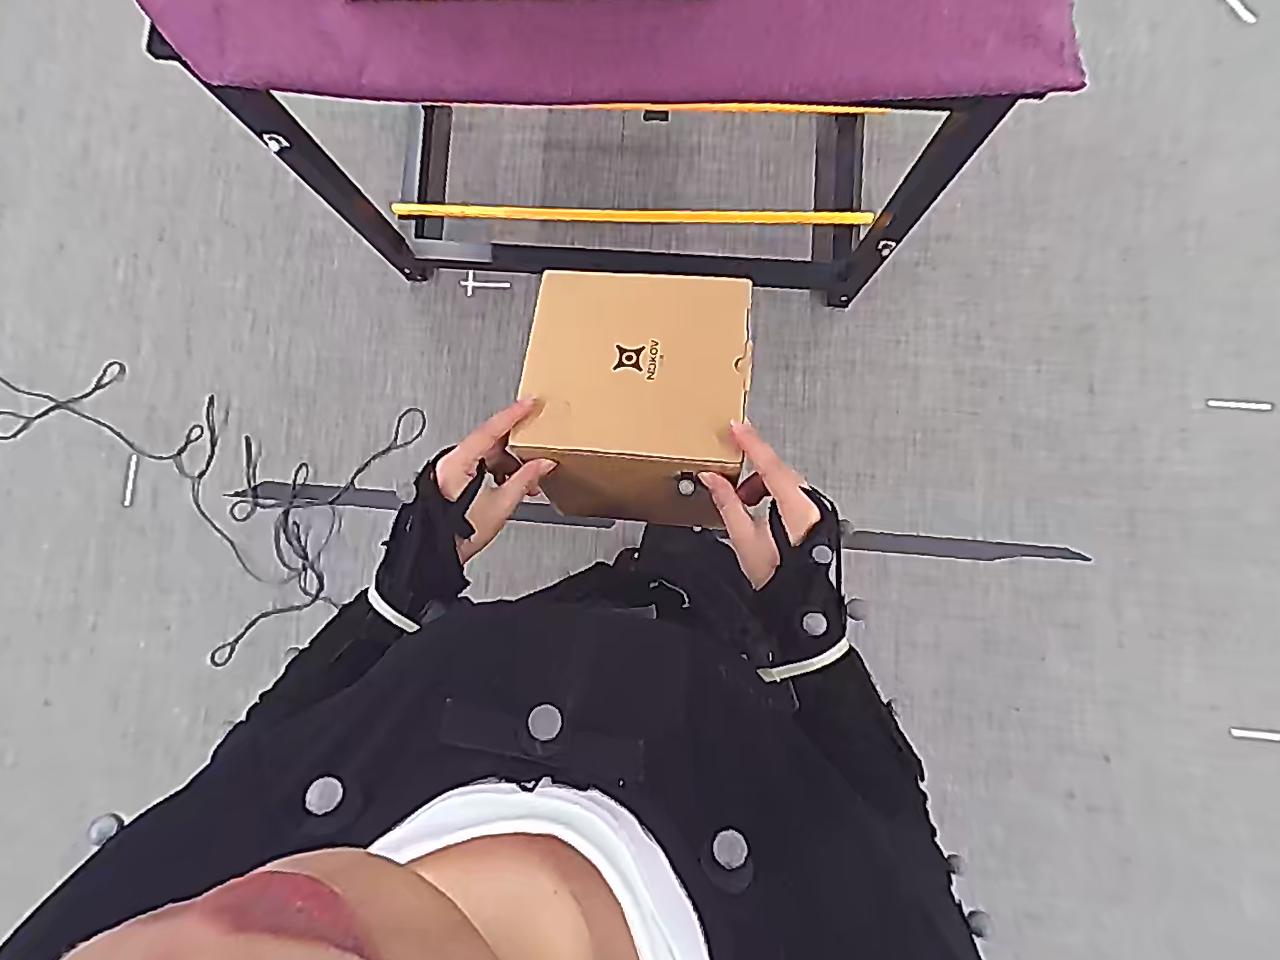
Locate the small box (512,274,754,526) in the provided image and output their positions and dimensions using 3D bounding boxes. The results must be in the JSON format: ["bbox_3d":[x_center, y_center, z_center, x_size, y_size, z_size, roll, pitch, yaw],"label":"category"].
[{"bbox_3d":[0.004,-0.063,0.495,0.179,0.176,0.168,5,69,5],"label":"small box"}]
